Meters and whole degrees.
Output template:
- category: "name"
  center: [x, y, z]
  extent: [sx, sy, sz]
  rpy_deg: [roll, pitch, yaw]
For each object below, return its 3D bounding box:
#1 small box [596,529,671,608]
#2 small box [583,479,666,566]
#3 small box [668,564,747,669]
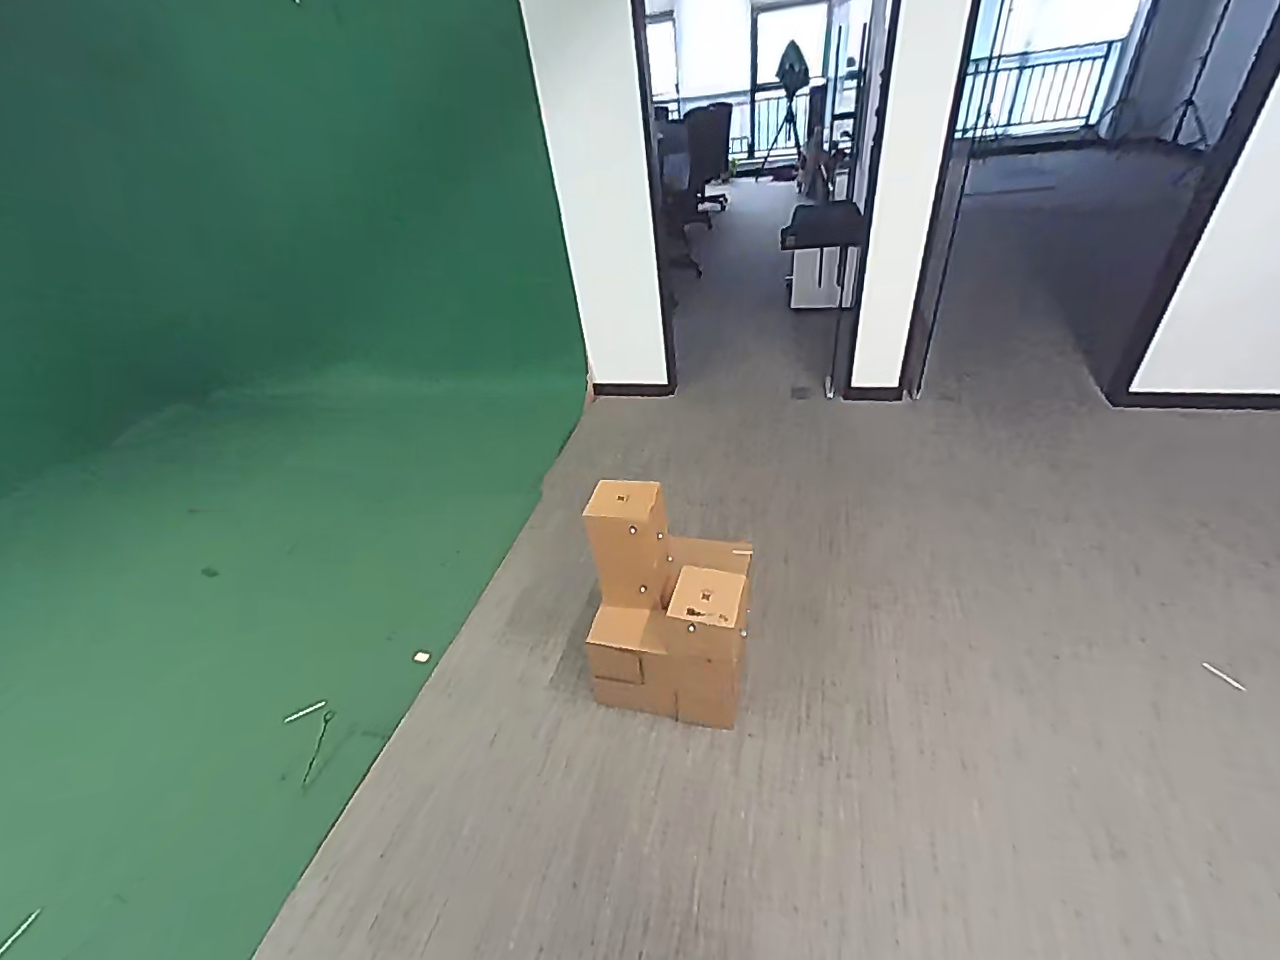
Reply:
- category: "small box"
  center: [-0.011, 0.249, 1.557]
  extent: [0.179, 0.176, 0.168]
  rpy_deg: [2, 35, 15]
- category: "small box"
  center: [-0.035, 0.115, 1.468]
  extent: [0.179, 0.176, 0.168]
  rpy_deg: [3, 36, 15]
- category: "small box"
  center: [0.175, 0.347, 1.382]
  extent: [0.168, 0.176, 0.179]
  rpy_deg: [7, 37, 18]
